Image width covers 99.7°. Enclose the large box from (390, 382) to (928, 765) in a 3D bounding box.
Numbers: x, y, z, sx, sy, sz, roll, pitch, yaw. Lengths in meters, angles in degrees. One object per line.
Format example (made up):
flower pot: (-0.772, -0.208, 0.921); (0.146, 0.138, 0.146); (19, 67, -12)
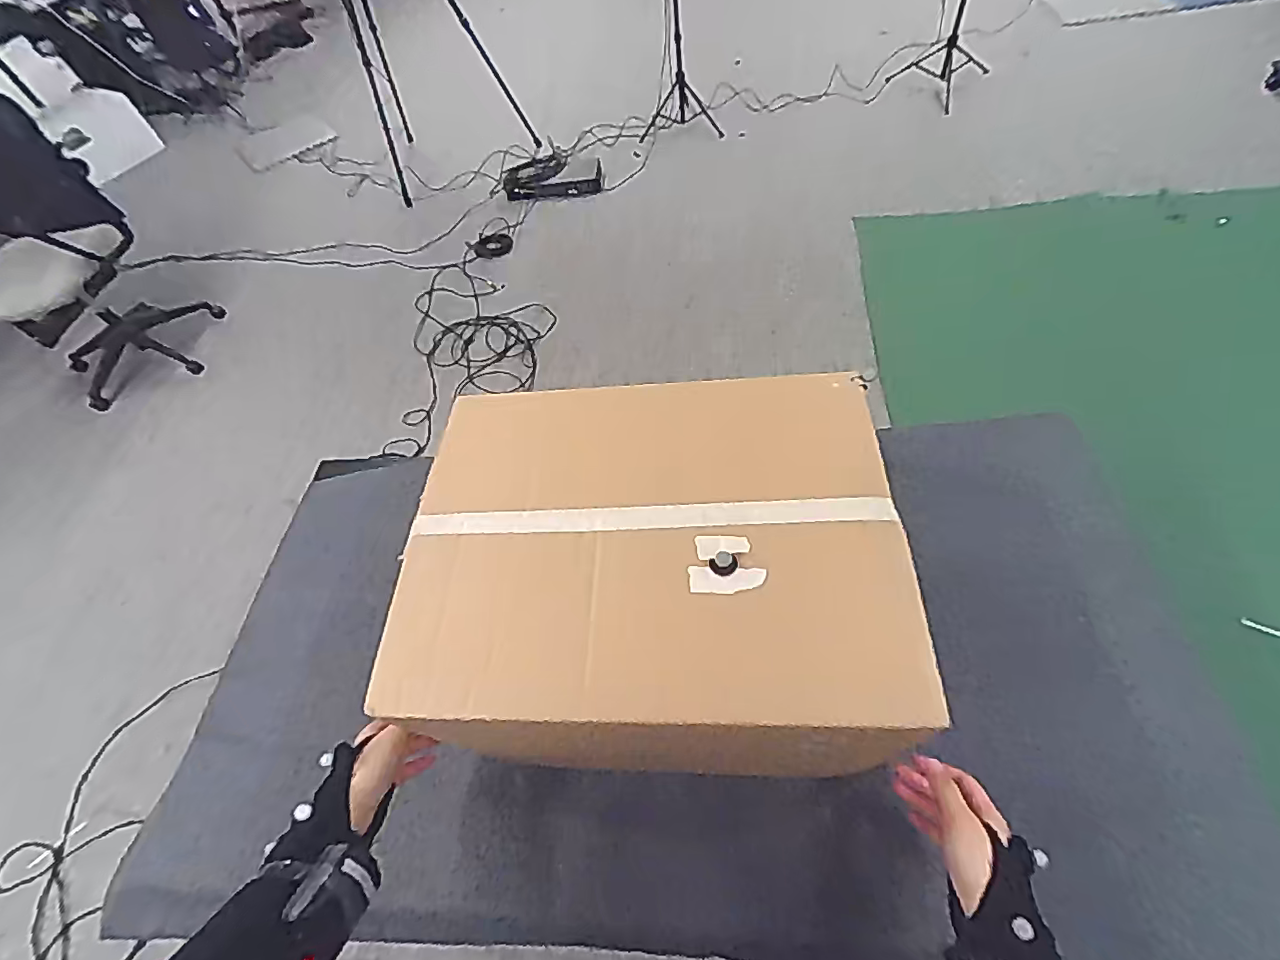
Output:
large box: (0.023, 0.122, 0.595); (0.408, 0.320, 0.320); (-2, 57, 7)
